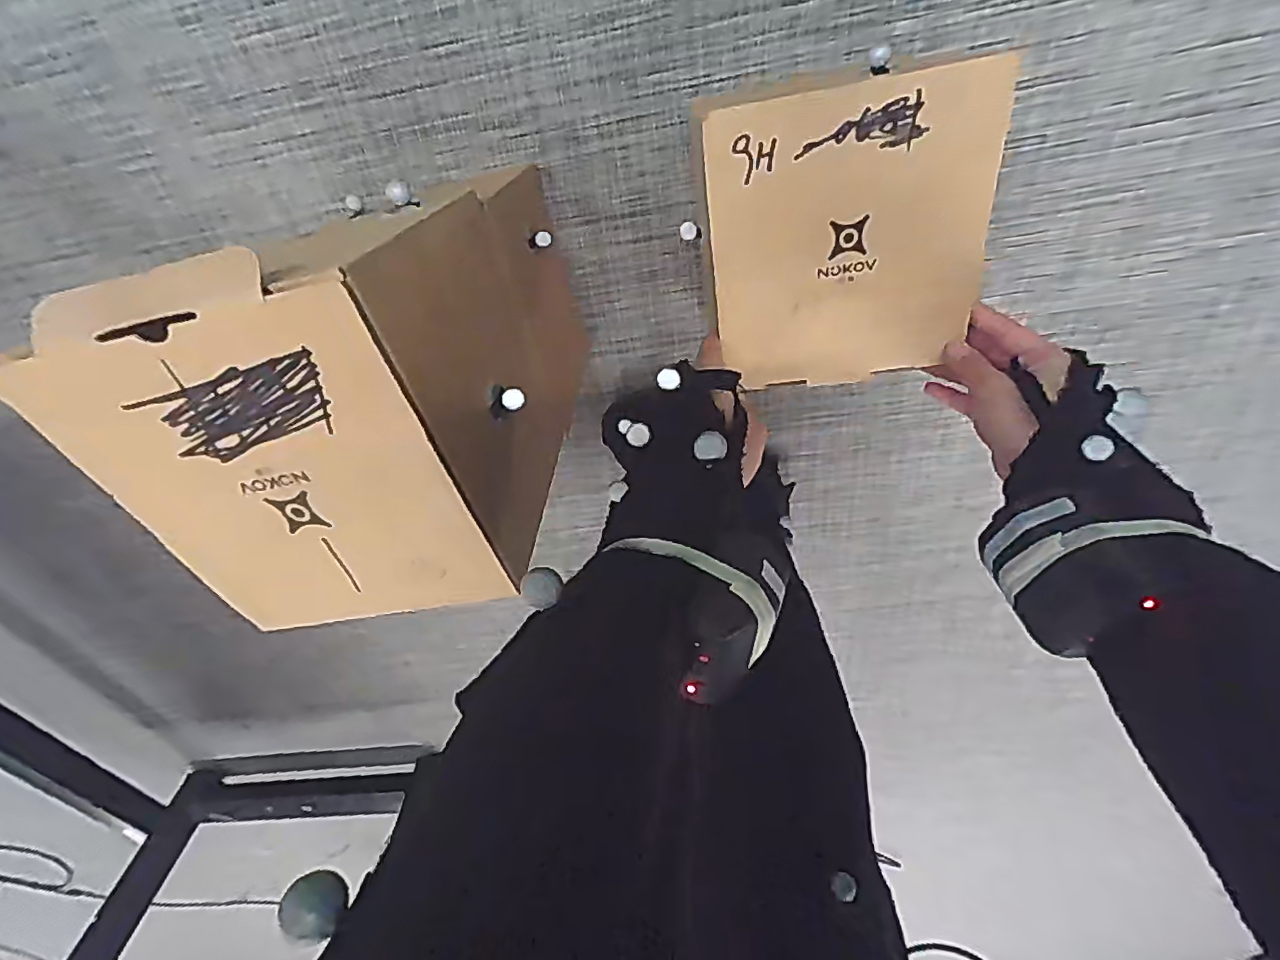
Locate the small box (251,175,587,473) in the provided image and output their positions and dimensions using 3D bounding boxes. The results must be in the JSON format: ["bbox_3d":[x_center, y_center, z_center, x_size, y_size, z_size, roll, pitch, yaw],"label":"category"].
[{"bbox_3d":[-0.151,-0.134,0.445,0.168,0.176,0.179,-10,126,10],"label":"small box"}]

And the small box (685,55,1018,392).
[{"bbox_3d":[0.125,-0.188,0.395,0.168,0.176,0.179,-7,127,6],"label":"small box"}]
